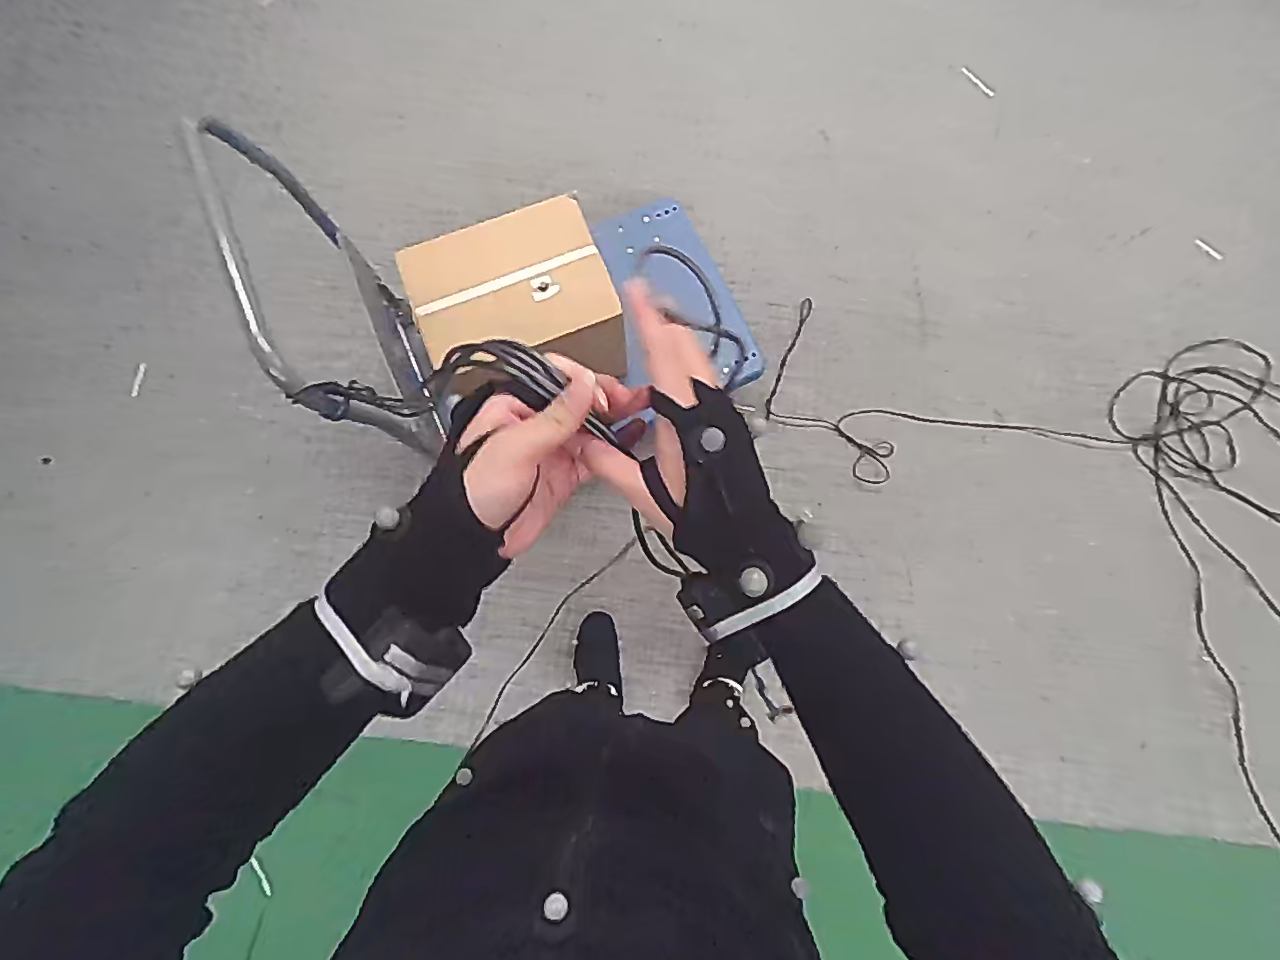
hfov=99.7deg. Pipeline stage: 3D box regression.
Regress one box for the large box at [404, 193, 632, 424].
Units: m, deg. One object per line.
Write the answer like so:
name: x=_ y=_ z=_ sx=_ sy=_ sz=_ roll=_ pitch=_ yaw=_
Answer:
large box: x=-0.259 y=-0.376 z=1.259 sx=0.408 sy=0.320 sz=0.320 roll=-21 pitch=80 yaw=-5
